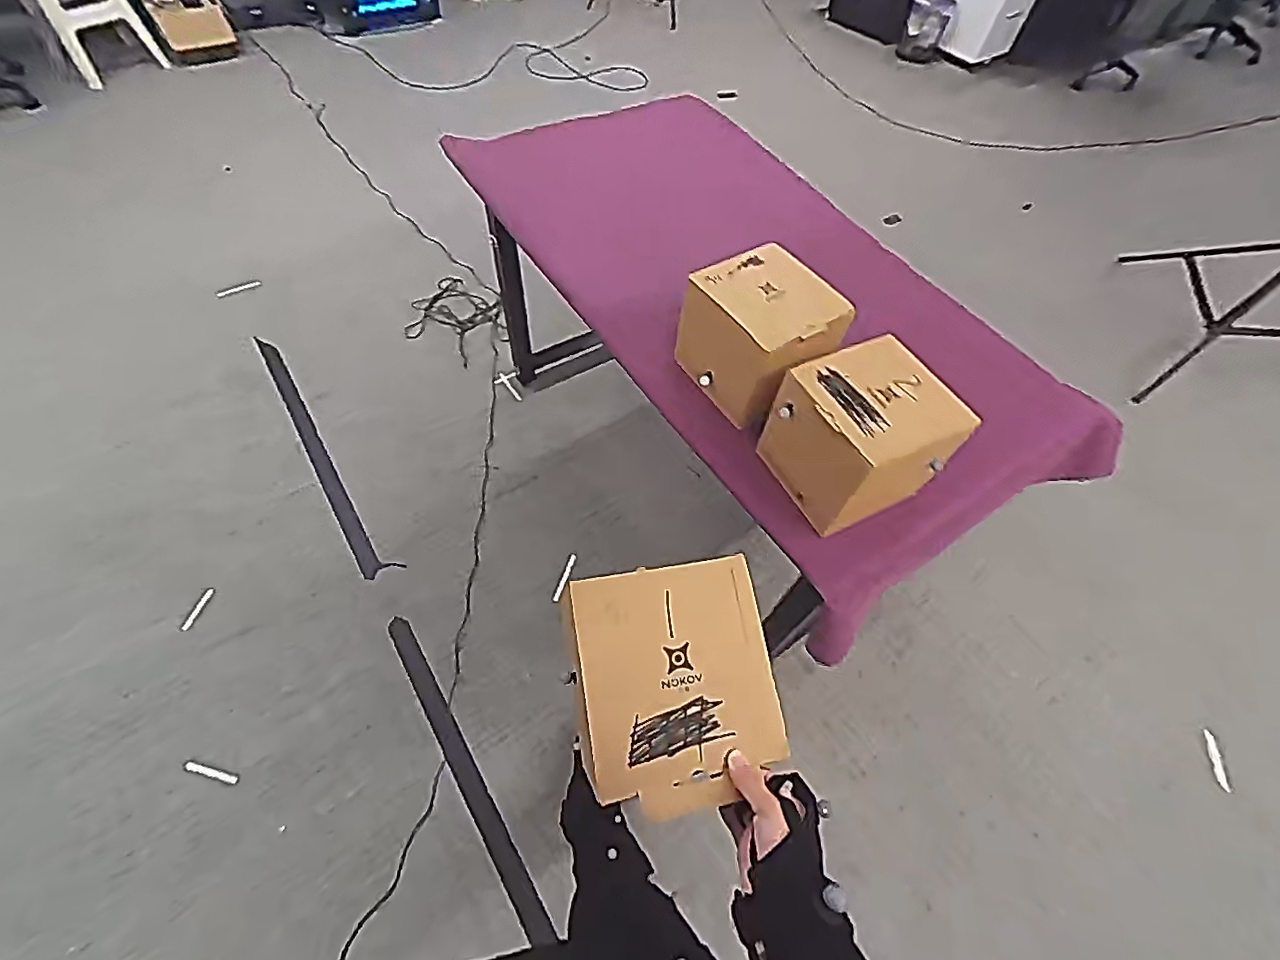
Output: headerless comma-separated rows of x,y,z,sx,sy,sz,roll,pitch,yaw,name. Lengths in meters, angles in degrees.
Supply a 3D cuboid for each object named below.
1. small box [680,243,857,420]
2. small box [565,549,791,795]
0.180,-0.214,0.815,0.168,0.176,0.179,-28,65,-20,small box
0.021,0.178,0.533,0.168,0.176,0.179,-7,72,-13,small box
